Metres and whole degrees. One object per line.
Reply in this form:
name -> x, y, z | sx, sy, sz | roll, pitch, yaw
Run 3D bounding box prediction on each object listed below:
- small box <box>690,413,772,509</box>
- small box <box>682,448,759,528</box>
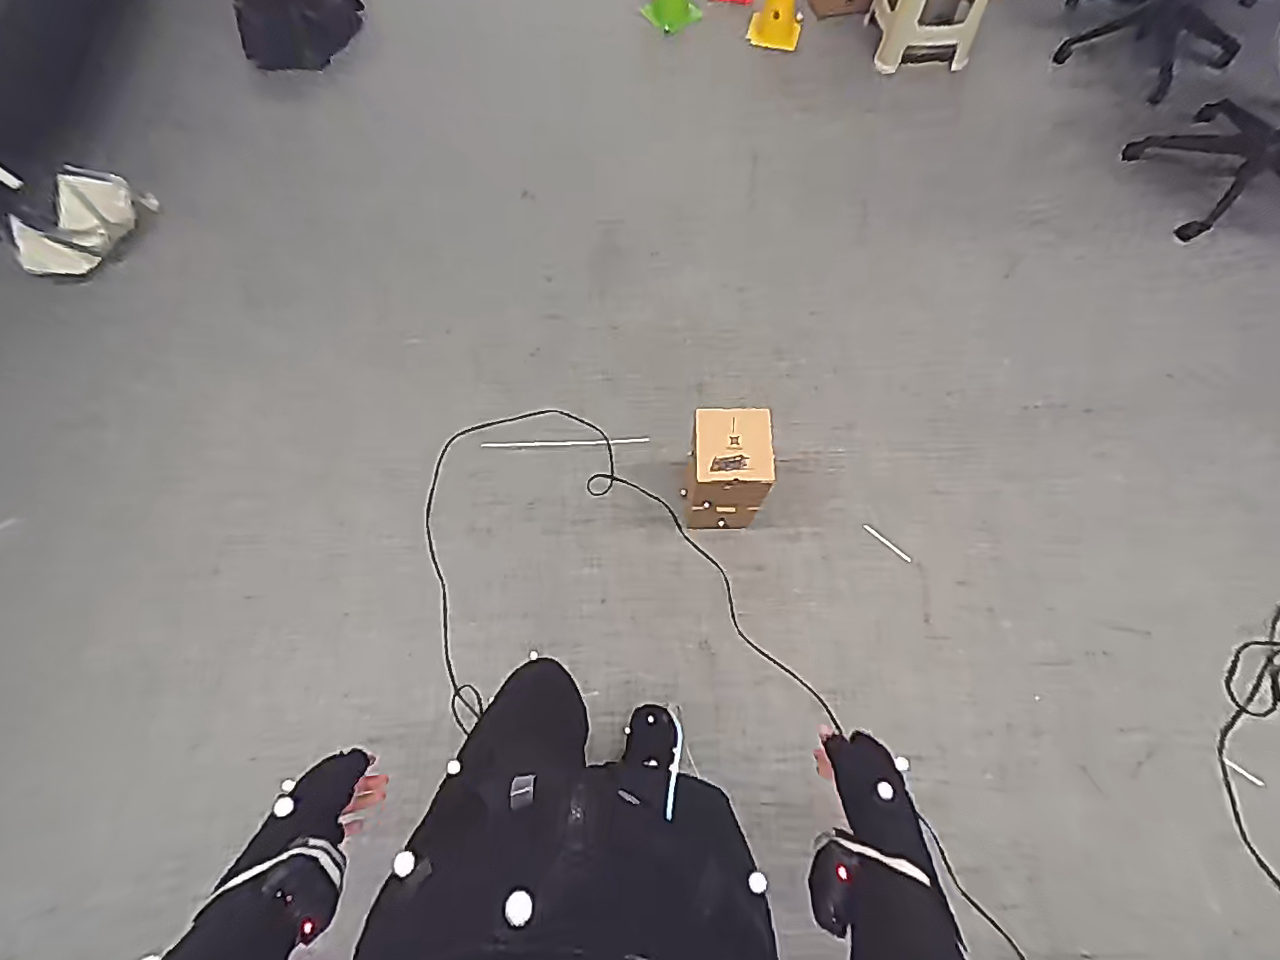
small box -> 0.203, -0.037, 1.240 | 0.168, 0.176, 0.179 | 1, 69, 2
small box -> 0.202, 0.025, 1.395 | 0.168, 0.176, 0.179 | -1, 71, -2
